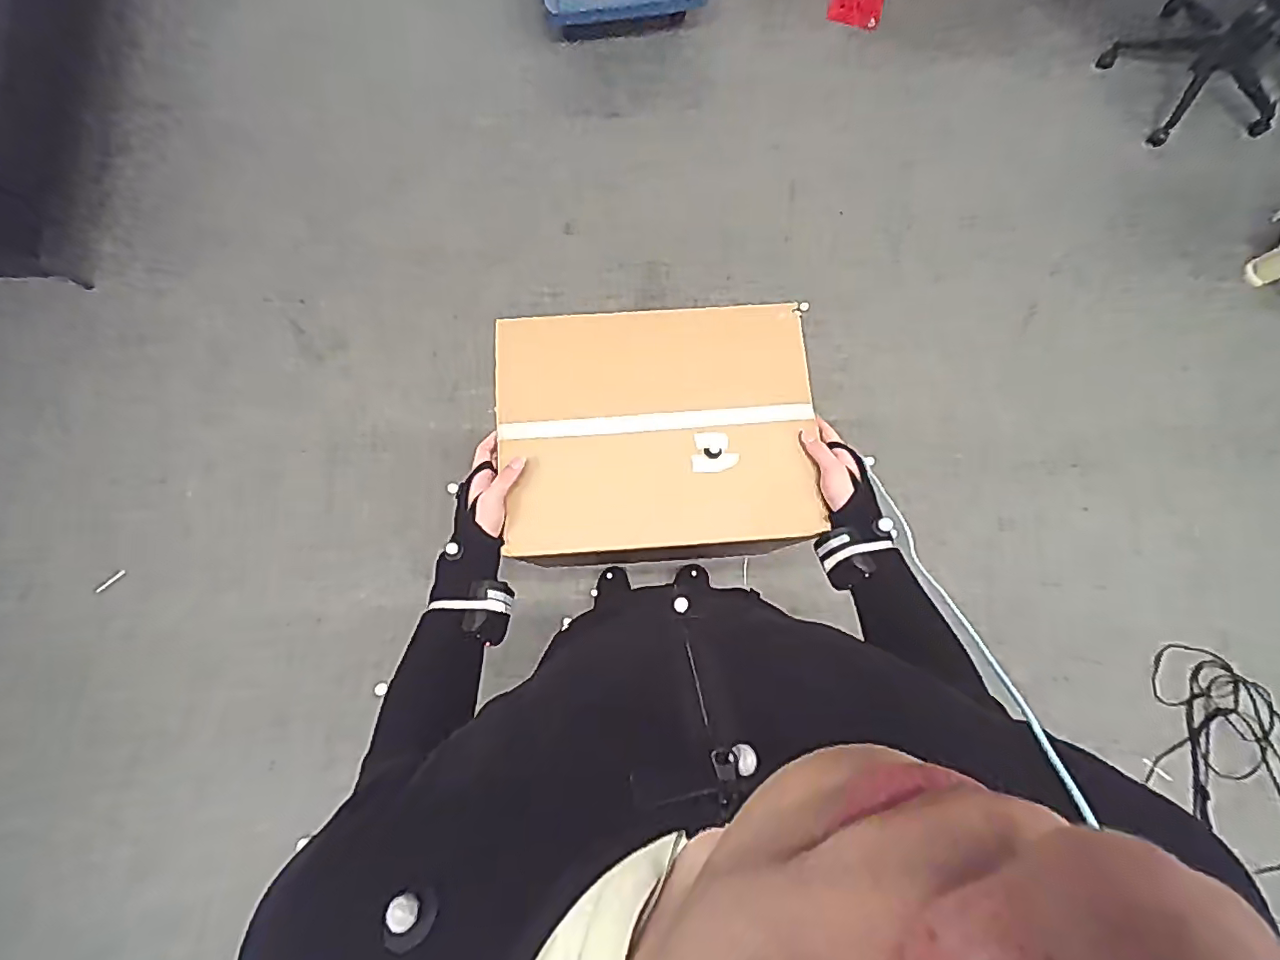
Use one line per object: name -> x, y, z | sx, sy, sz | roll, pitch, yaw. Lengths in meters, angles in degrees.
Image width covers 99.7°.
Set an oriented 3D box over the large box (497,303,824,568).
large box -> 0.015, -0.044, 0.839 | 0.408, 0.320, 0.320 | -4, 78, -3
